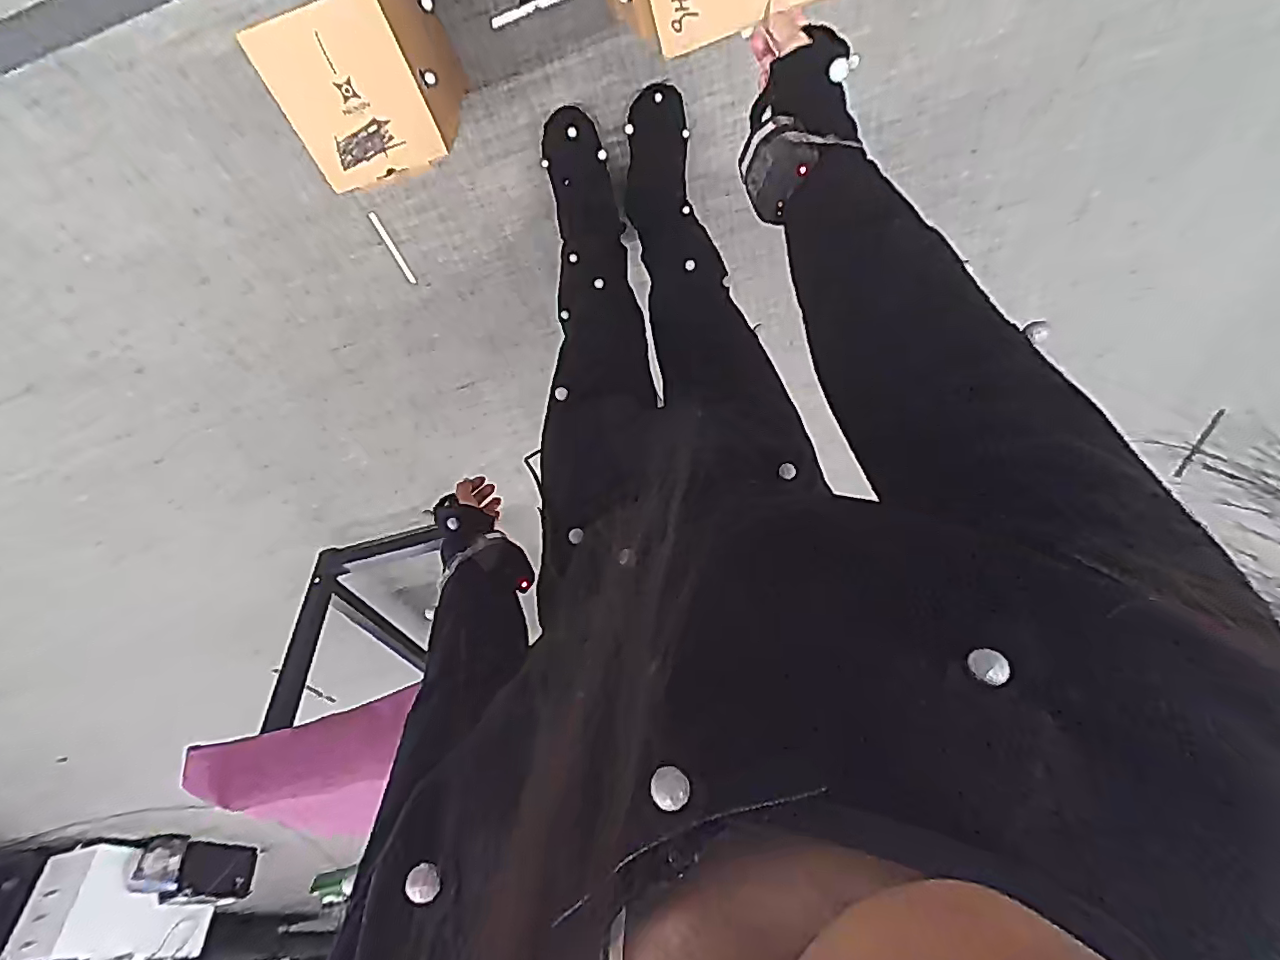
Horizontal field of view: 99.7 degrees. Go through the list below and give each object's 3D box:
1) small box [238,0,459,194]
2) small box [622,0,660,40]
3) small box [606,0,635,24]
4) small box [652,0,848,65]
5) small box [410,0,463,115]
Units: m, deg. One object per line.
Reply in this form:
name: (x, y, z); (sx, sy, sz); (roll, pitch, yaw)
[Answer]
small box: (-0.352, -0.510, 0.699); (0.168, 0.176, 0.179); (-16, 136, 5)
small box: (0.049, -0.656, 0.626); (0.168, 0.176, 0.179); (-17, 138, 5)
small box: (0.029, -0.766, 0.745); (0.179, 0.176, 0.168); (-14, 137, 2)
small box: (0.086, -0.513, 0.492); (0.179, 0.176, 0.168); (-12, 130, 13)
small box: (-0.381, -0.629, 0.810); (0.179, 0.176, 0.168); (-17, 137, 8)
